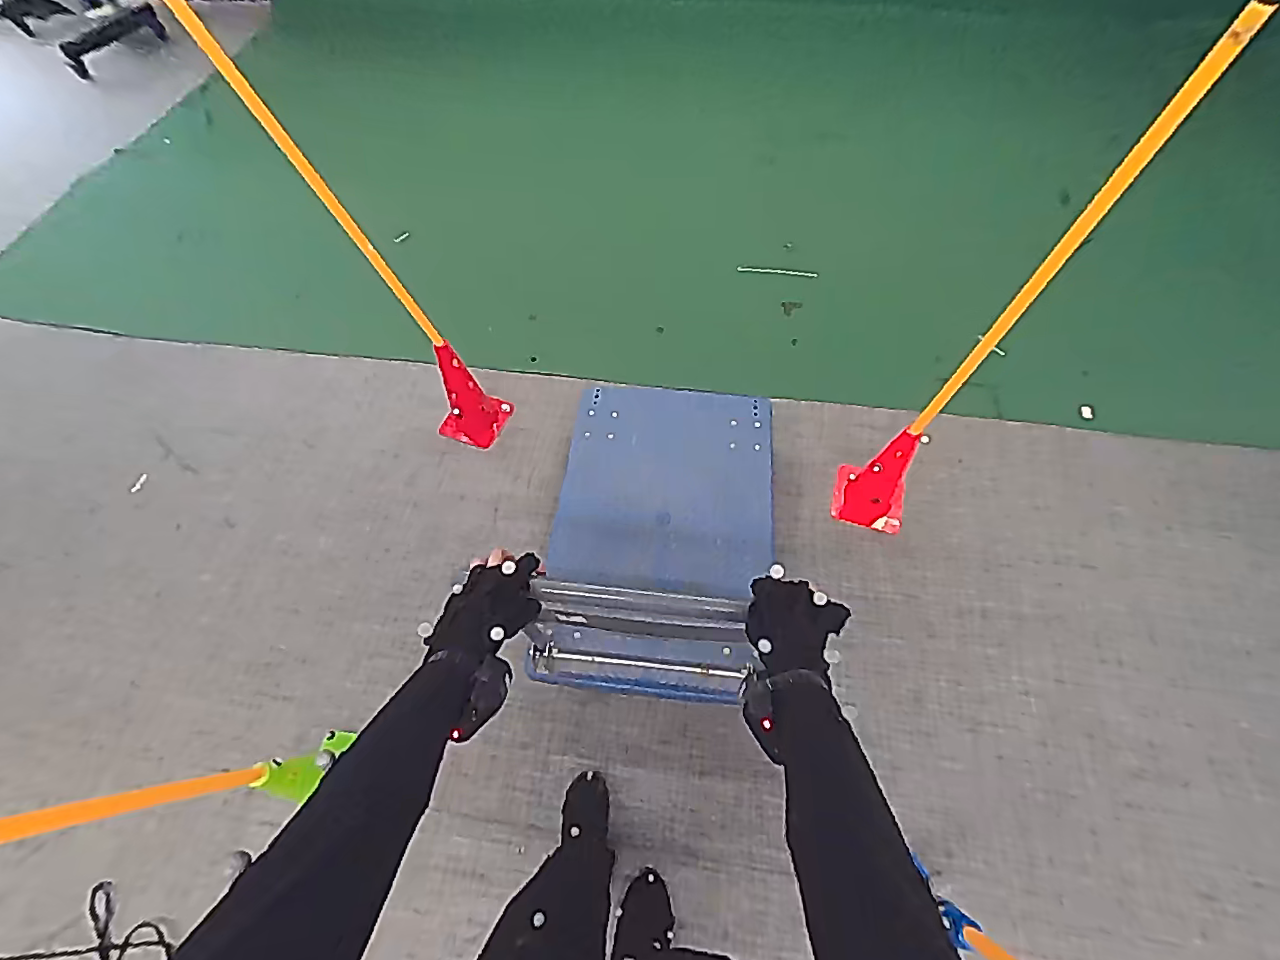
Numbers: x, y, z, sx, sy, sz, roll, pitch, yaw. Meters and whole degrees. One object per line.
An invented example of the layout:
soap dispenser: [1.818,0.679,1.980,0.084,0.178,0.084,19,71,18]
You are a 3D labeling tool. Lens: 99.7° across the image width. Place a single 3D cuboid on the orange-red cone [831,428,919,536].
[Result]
orange-red cone: [0.684,-0.024,1.494,0.198,0.360,0.199,16,62,12]
